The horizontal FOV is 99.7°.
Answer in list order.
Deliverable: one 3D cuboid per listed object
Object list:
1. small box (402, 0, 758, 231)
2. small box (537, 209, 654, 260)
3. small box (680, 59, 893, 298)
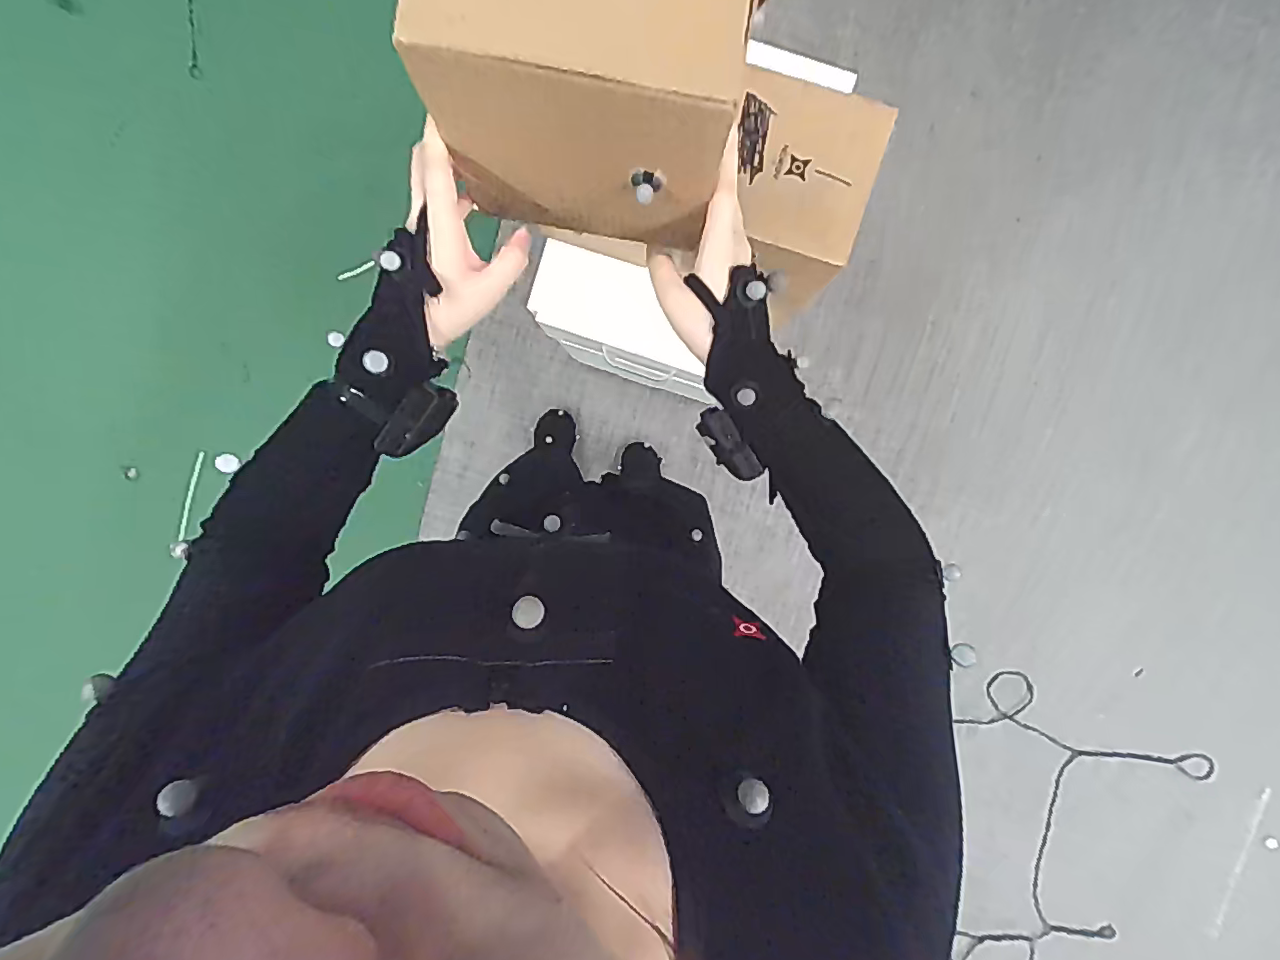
[{"bbox_3d":[-0.024,-0.289,0.354,0.179,0.176,0.168,9,87,-2],"label":"small box"},{"bbox_3d":[-0.052,-0.447,0.793,0.179,0.176,0.168,17,94,-2],"label":"small box"},{"bbox_3d":[0.153,-0.333,0.634,0.179,0.176,0.168,18,94,0],"label":"small box"}]
